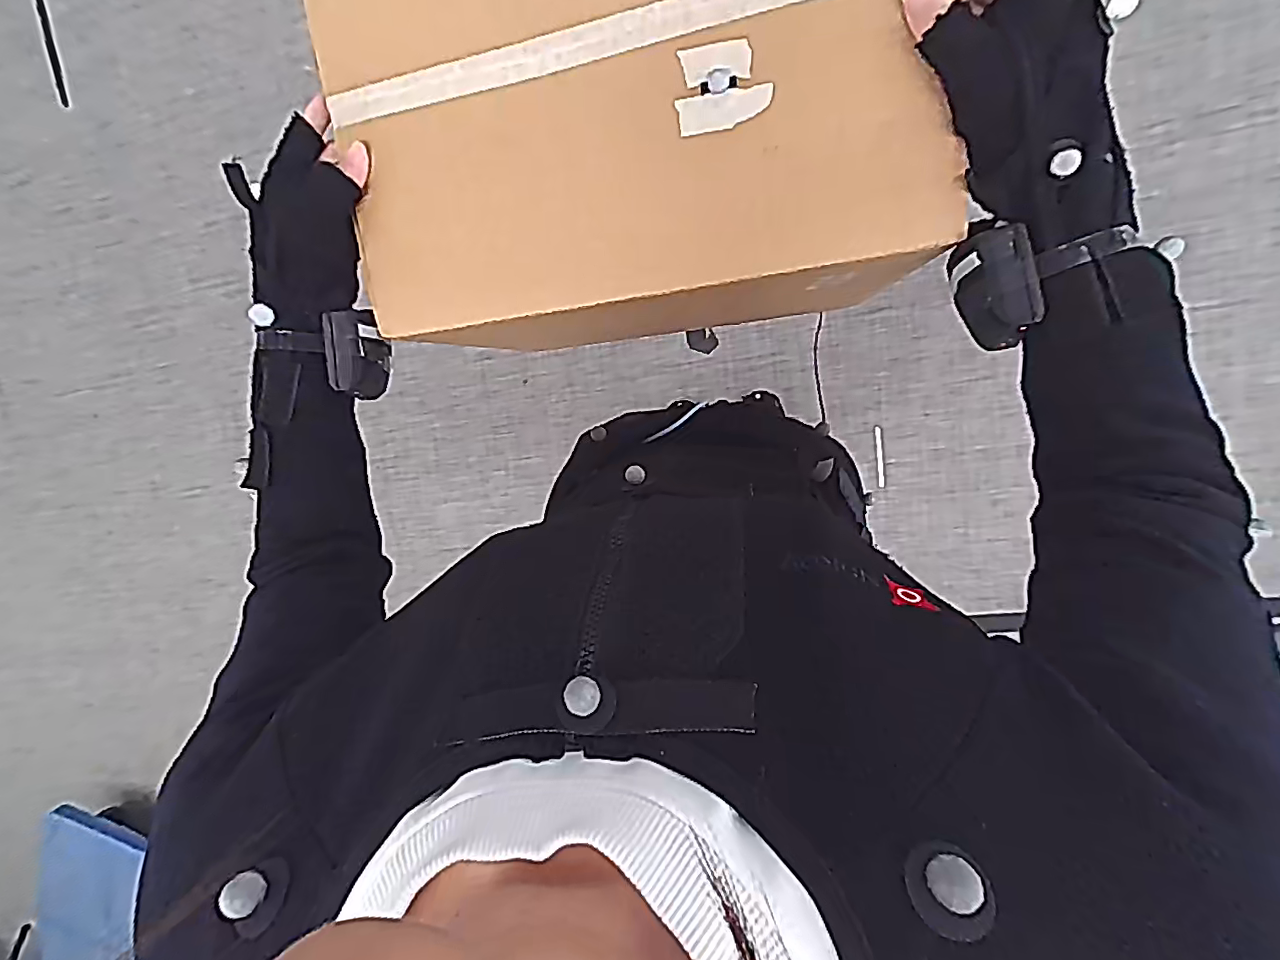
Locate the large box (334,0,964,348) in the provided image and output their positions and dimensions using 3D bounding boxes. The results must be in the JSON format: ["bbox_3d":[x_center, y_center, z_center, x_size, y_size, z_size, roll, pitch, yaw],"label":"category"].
[{"bbox_3d":[0.013,-0.314,0.496,0.408,0.320,0.320,-6,101,11],"label":"large box"}]
